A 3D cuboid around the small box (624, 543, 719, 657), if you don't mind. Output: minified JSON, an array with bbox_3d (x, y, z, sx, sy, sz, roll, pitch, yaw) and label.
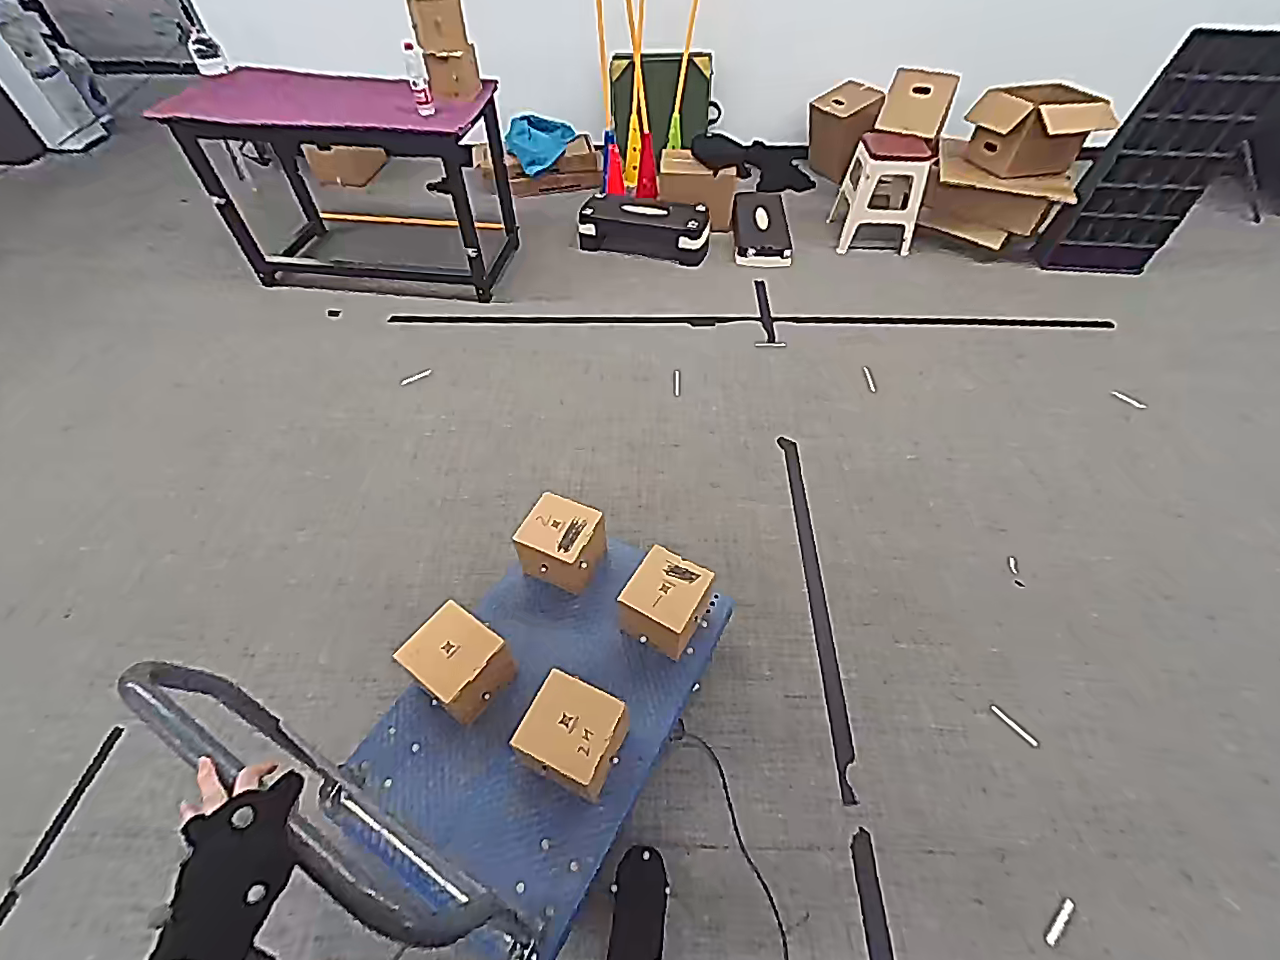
[{"bbox_3d":[0.073,0.293,1.310,0.168,0.176,0.179,25,56,20],"label":"small box"}]

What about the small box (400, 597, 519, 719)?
[{"bbox_3d":[-0.398,0.406,1.219,0.179,0.176,0.168,30,56,20],"label":"small box"}]

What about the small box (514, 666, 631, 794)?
[{"bbox_3d":[-0.131,0.523,1.121,0.179,0.176,0.168,20,54,16],"label":"small box"}]
